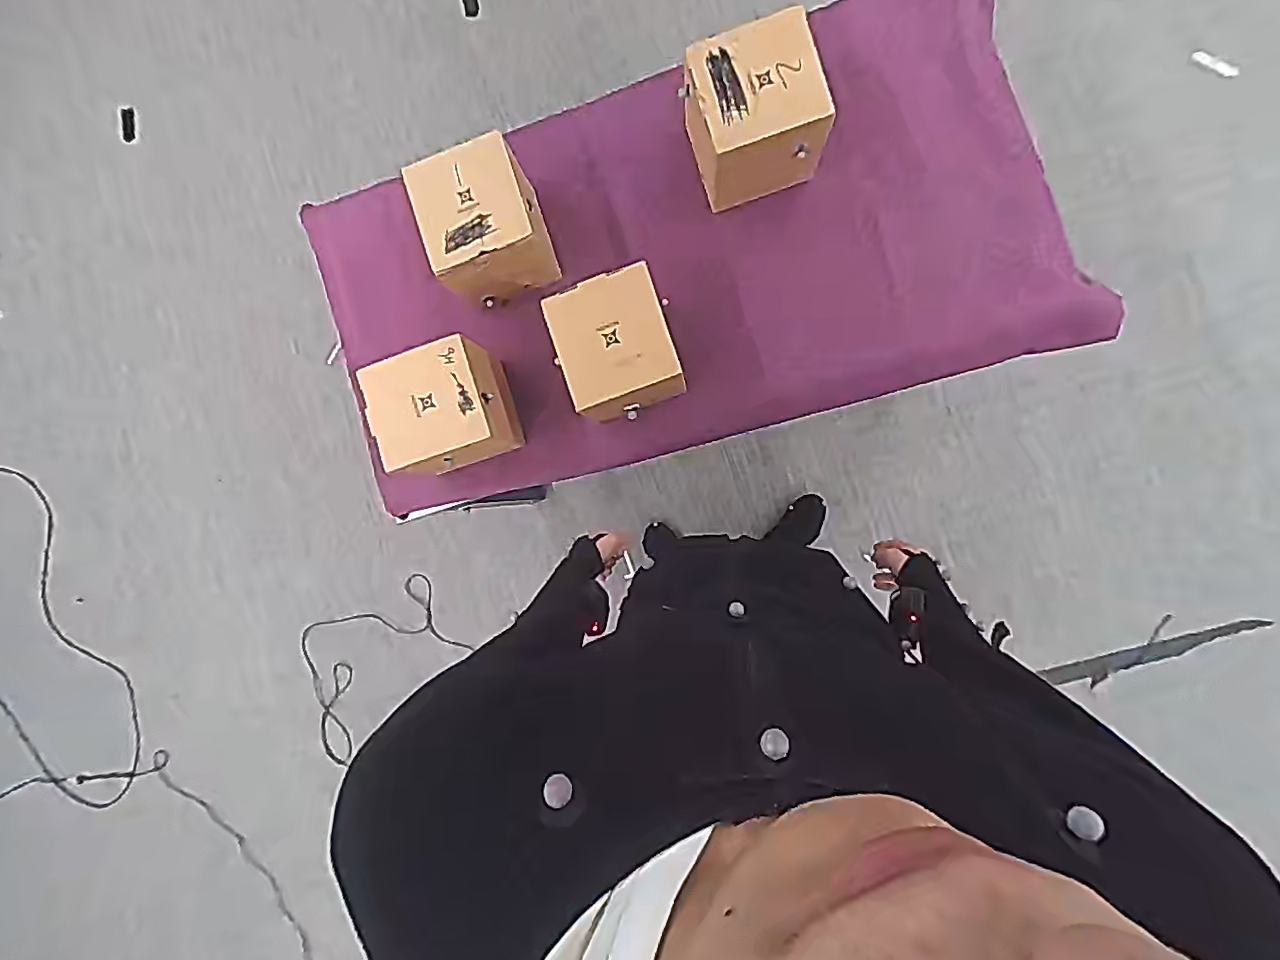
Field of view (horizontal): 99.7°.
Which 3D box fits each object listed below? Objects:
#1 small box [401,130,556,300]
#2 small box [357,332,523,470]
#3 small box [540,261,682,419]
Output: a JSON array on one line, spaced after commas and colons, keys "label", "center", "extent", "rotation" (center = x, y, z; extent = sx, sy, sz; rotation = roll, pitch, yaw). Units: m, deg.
[{"label": "small box", "center": [-0.253, -0.416, 0.888], "extent": [0.168, 0.176, 0.179], "rotation": [-19, 87, 5]}, {"label": "small box", "center": [-0.317, -0.117, 0.887], "extent": [0.179, 0.176, 0.168], "rotation": [-18, 88, 6]}, {"label": "small box", "center": [-0.037, -0.210, 0.860], "extent": [0.168, 0.176, 0.179], "rotation": [-19, 89, 6]}]
